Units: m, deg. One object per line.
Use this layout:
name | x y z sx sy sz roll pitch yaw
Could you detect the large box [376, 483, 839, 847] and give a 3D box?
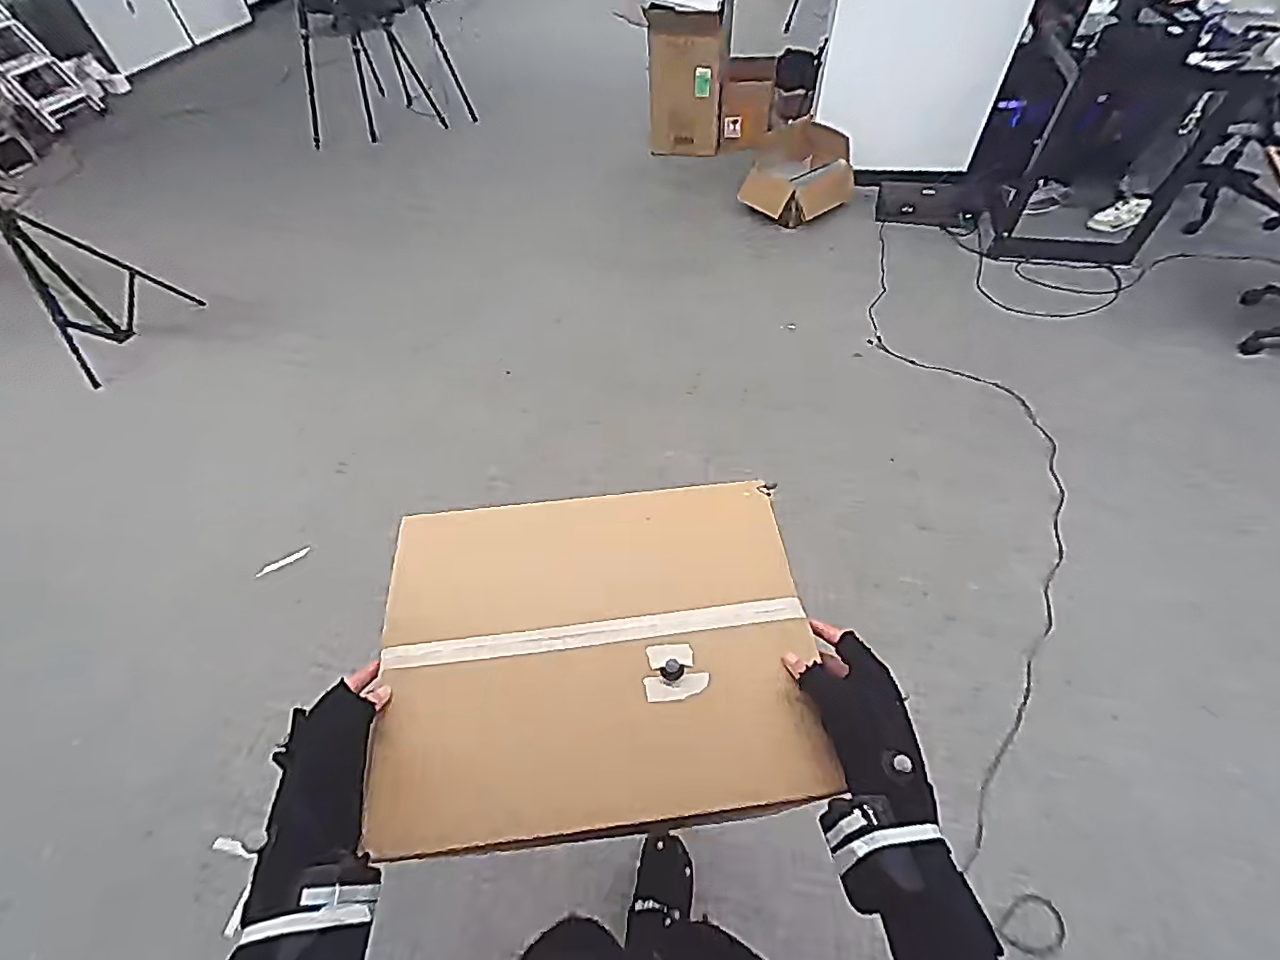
large box | -0.041 0.233 0.659 0.408 0.320 0.320 -5 56 -4
